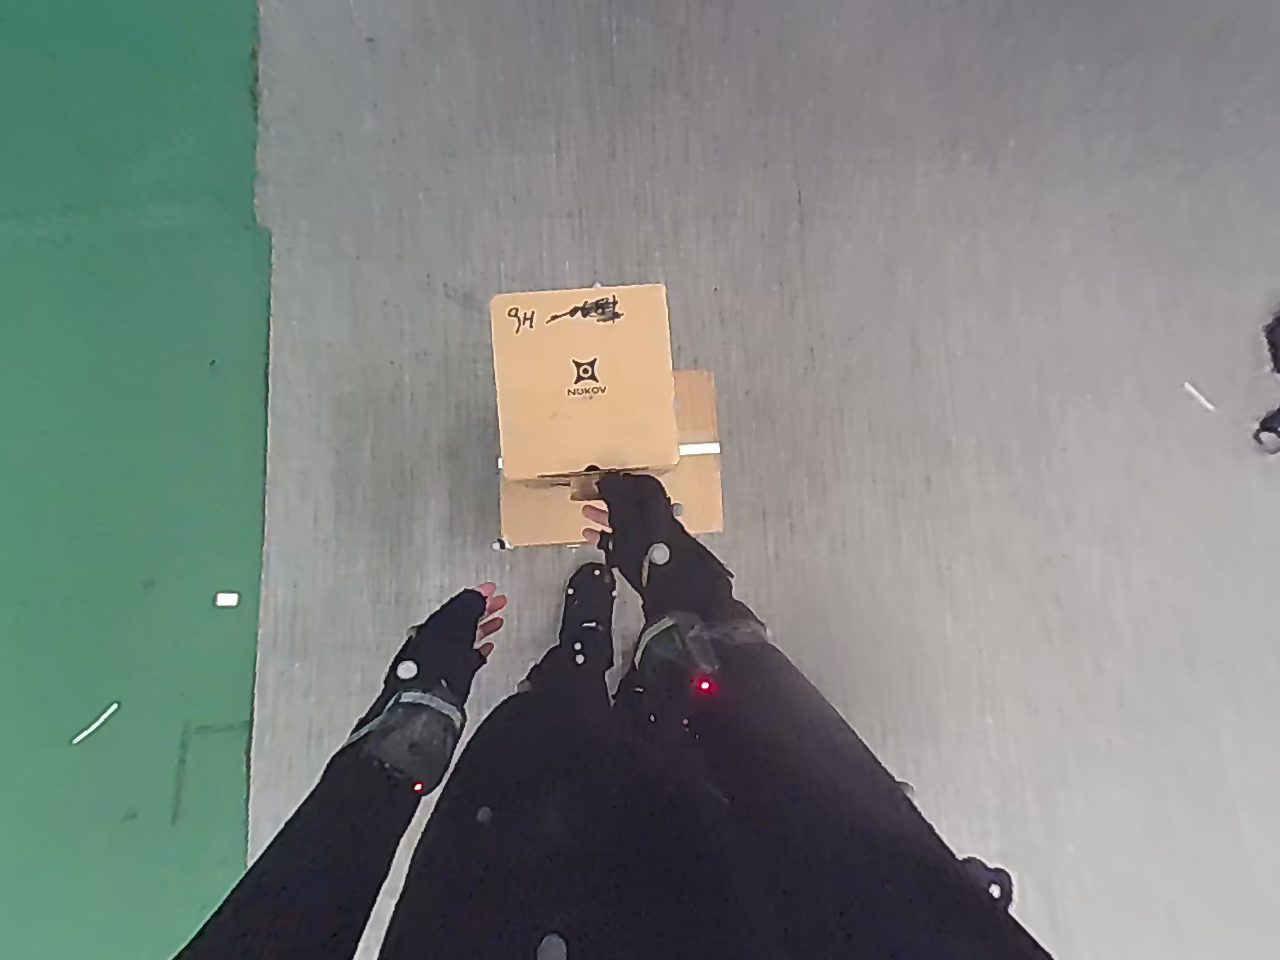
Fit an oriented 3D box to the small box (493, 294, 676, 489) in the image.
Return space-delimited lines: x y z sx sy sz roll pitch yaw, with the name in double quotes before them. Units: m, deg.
"small box" -0.054 -0.083 0.588 0.168 0.176 0.179 -5 88 -3
